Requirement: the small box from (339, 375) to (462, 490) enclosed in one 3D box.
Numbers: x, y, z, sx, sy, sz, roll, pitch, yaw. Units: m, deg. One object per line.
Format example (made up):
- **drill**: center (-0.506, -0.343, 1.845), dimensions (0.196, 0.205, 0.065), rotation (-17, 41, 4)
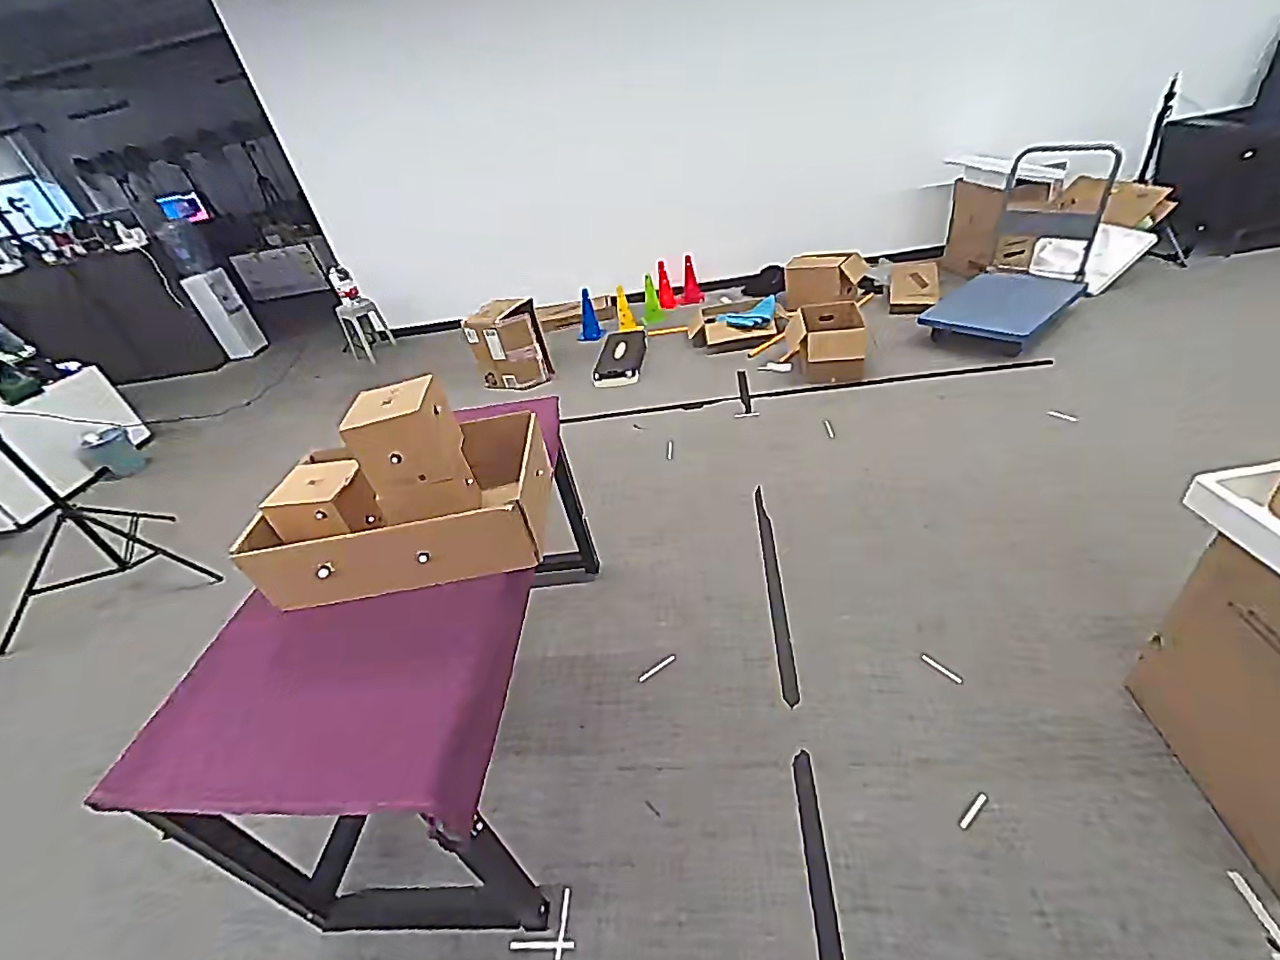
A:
- **small box**: center (-0.494, -0.095, 1.149), dimensions (0.168, 0.176, 0.179), rotation (-14, 35, 0)
